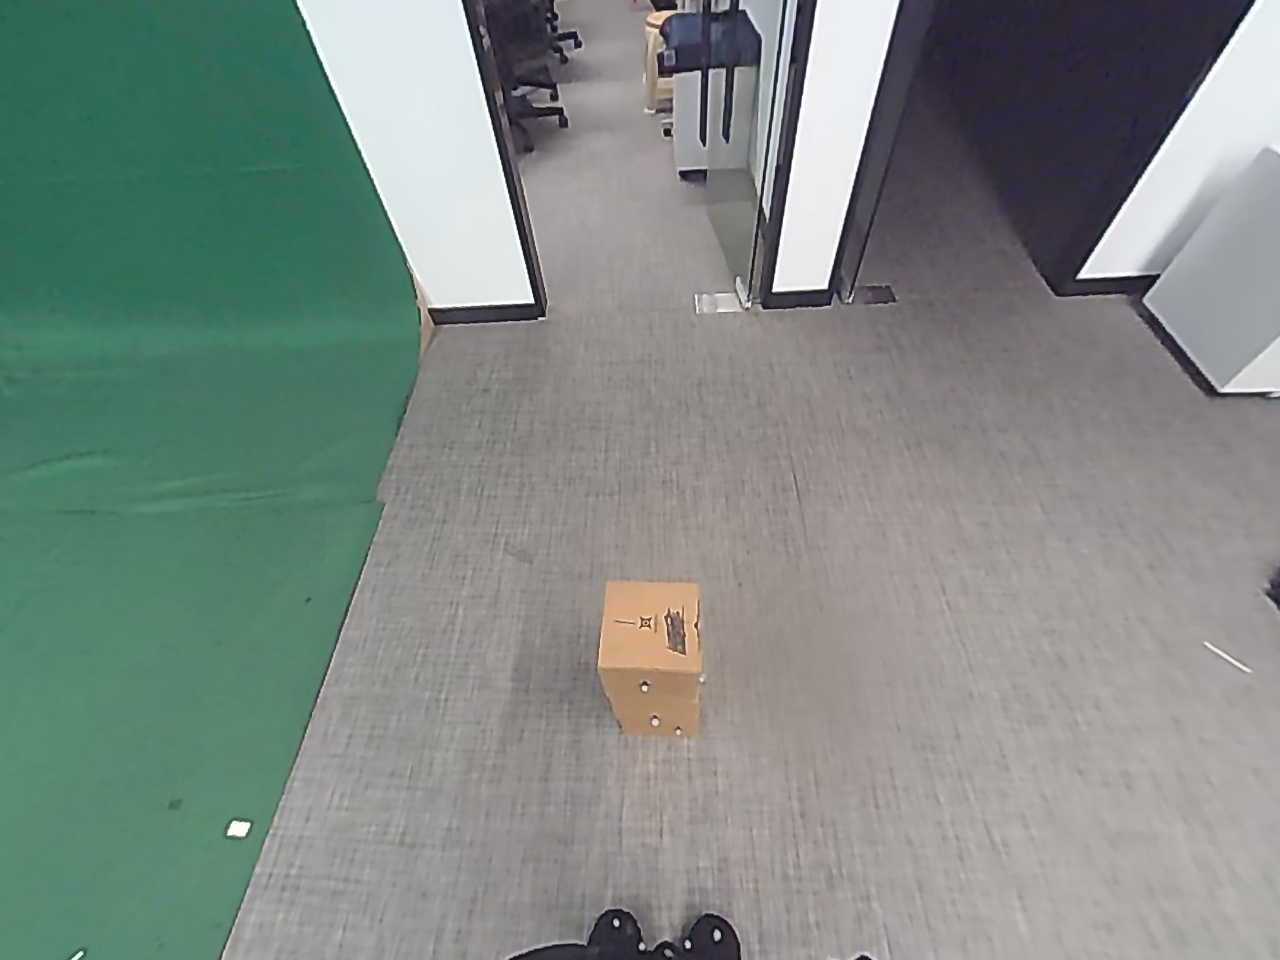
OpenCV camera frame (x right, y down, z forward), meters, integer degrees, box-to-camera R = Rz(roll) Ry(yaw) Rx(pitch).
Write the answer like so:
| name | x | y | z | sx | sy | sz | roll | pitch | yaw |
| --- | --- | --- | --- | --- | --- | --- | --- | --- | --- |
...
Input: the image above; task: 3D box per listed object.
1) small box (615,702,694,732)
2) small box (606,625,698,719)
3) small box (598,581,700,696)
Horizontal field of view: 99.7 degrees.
| name | x | y | z | sx | sy | sz | roll | pitch | yaw |
| --- | --- | --- | --- | --- | --- | --- | --- | --- | --- |
| small box | 0.039 | 0.499 | 1.297 | 0.179 | 0.176 | 0.168 | -1 | 53 | 5 |
| small box | 0.030 | 0.406 | 1.163 | 0.179 | 0.176 | 0.168 | 3 | 53 | 5 |
| small box | 0.018 | 0.306 | 1.033 | 0.179 | 0.176 | 0.168 | 0 | 53 | 2 |
